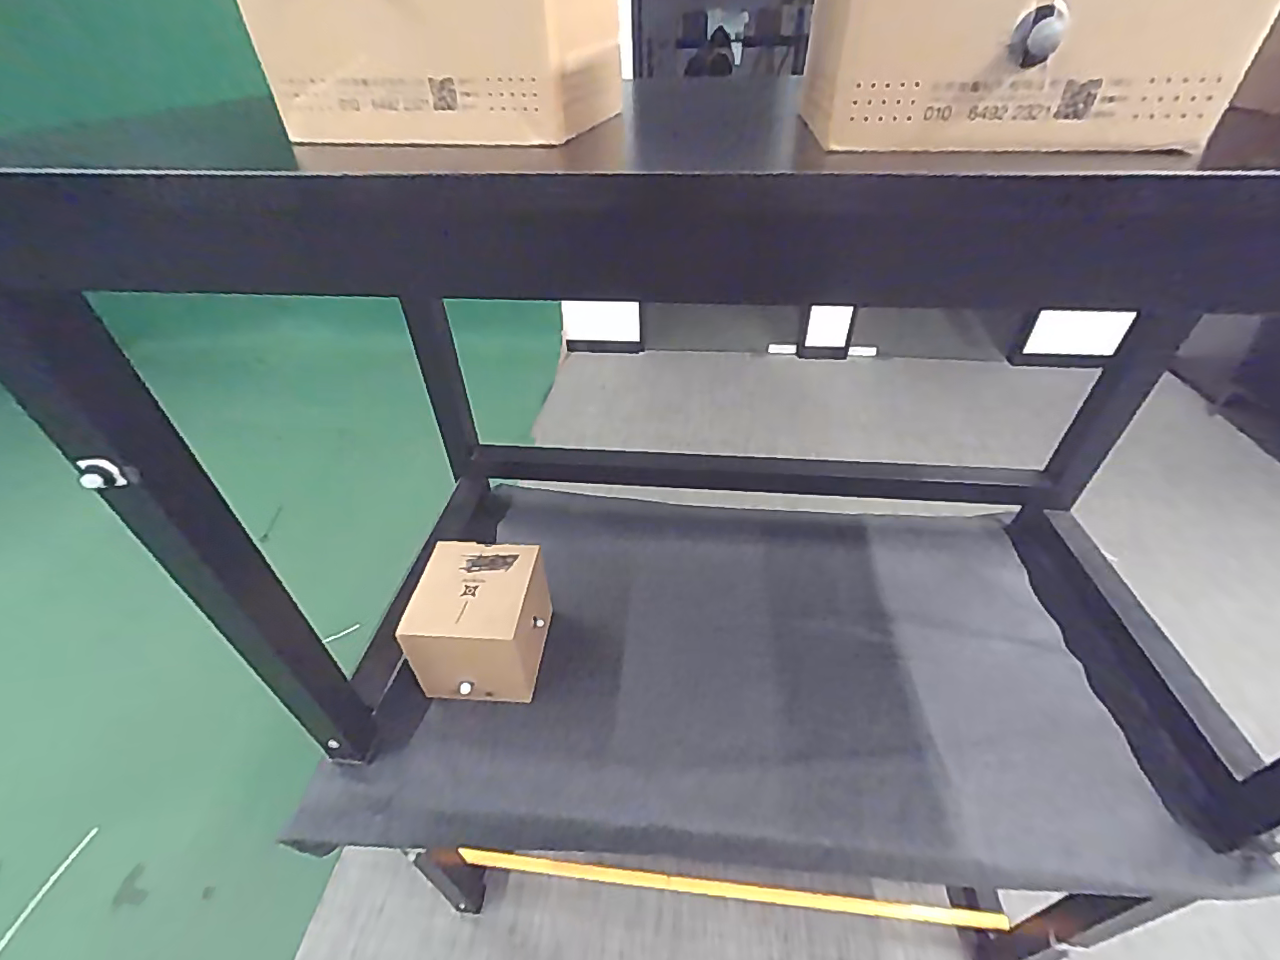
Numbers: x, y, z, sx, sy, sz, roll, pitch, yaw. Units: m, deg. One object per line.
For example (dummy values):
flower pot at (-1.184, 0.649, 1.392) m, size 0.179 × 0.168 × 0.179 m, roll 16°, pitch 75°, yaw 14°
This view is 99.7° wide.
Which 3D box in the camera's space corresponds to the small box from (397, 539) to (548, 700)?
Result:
small box at (-0.242, 0.213, 0.838) m, size 0.168 × 0.176 × 0.179 m, roll 2°, pitch 40°, yaw 3°

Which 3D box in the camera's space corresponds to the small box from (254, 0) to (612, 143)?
small box at (-0.114, -0.309, 0.323) m, size 0.168 × 0.176 × 0.179 m, roll 6°, pitch 39°, yaw 8°
